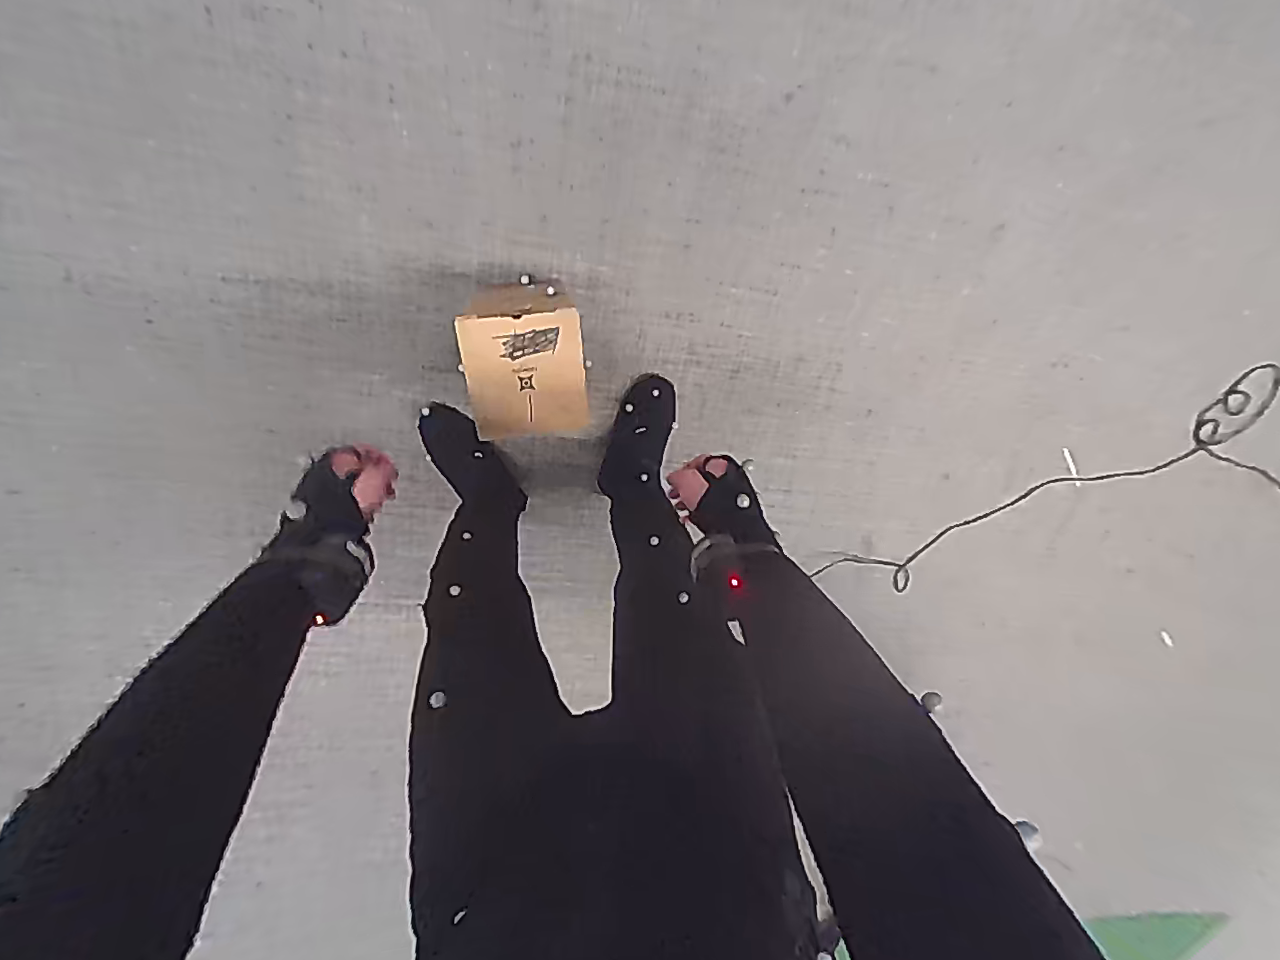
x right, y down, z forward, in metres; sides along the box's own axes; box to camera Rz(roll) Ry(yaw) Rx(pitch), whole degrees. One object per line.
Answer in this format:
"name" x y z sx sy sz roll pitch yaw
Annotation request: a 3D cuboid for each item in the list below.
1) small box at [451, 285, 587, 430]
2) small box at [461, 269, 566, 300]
"small box" -0.175 -0.193 0.817 0.168 0.176 0.179 -7 119 -6
"small box" -0.206 -0.268 0.960 0.168 0.176 0.179 -9 116 -6
